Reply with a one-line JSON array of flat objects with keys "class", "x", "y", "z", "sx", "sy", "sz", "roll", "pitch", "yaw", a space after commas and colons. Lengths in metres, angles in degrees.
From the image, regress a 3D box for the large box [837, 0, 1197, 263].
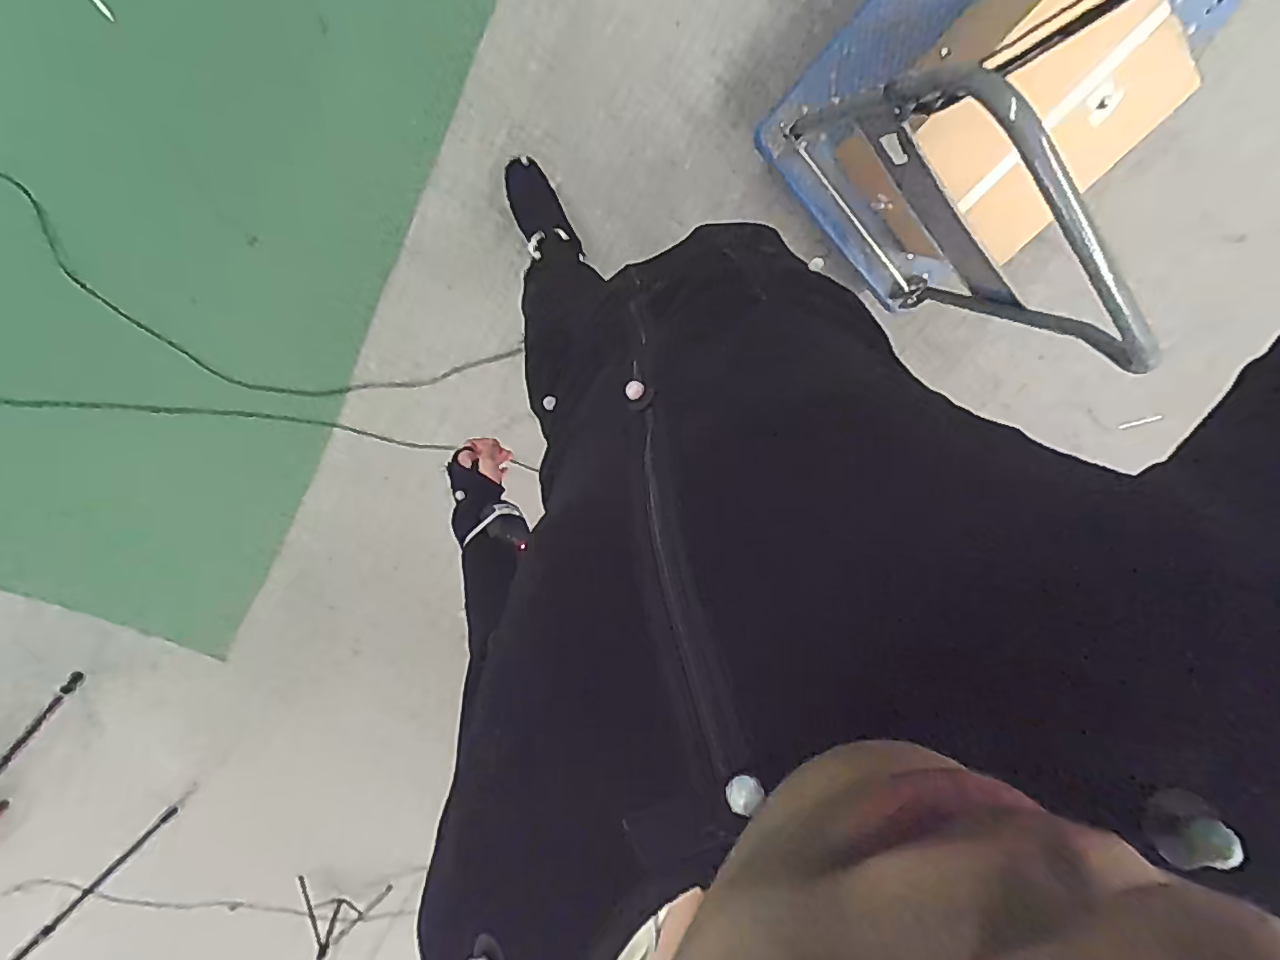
[{"class": "large box", "x": 0.673, "y": -0.692, "z": 1.033, "sx": 0.320, "sy": 0.320, "sz": 0.408, "roll": 38, "pitch": 109, "yaw": -23}]
